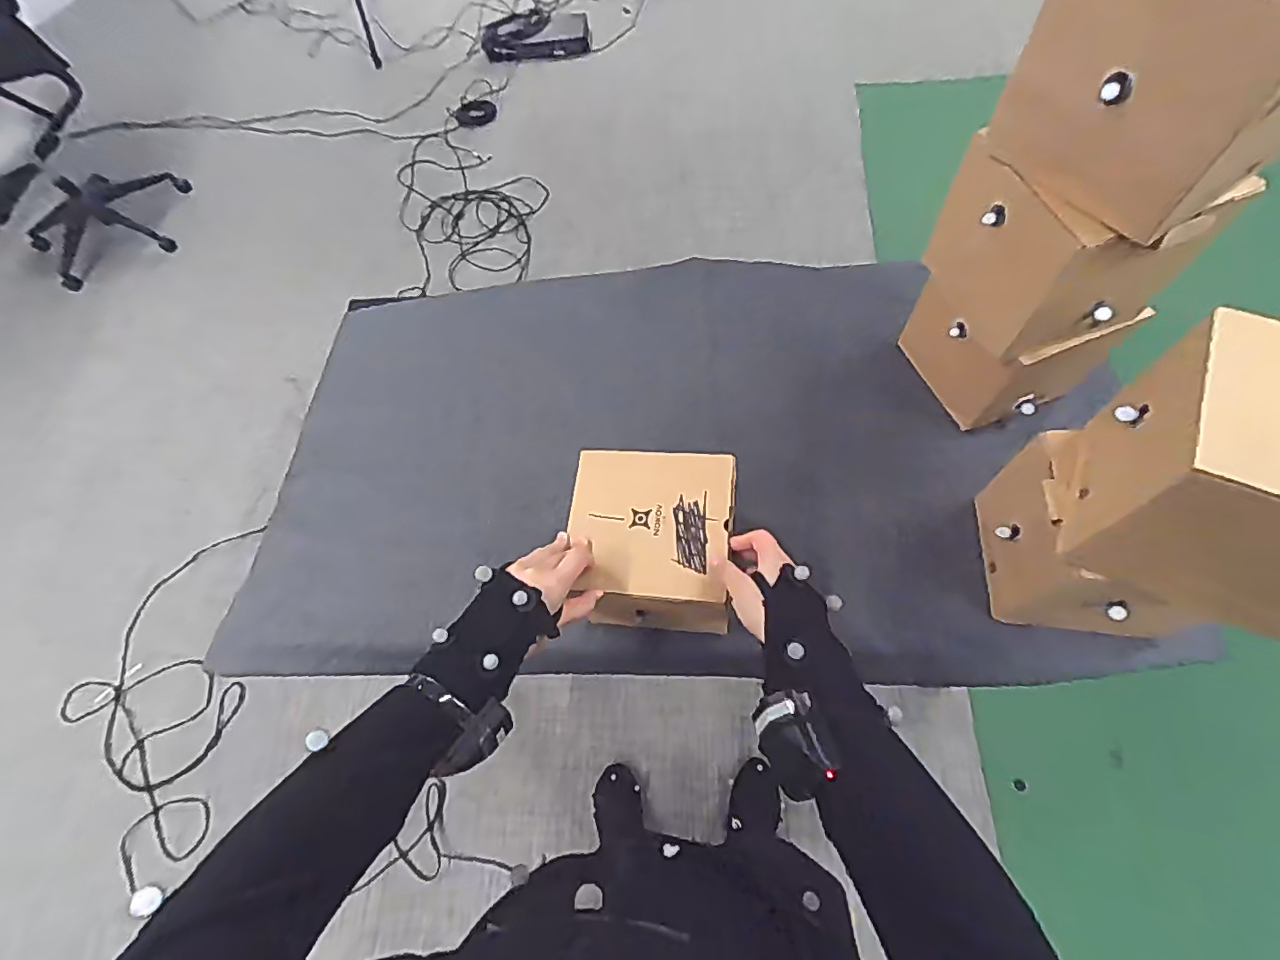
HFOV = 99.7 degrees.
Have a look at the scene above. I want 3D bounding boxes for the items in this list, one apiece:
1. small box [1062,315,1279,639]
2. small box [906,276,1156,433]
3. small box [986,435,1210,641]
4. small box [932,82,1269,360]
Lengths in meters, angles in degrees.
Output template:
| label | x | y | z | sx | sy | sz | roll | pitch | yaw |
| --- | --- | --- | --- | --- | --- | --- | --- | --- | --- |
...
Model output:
| label | x | y | z | sx | sy | sz | roll | pitch | yaw |
| --- | --- | --- | --- | --- | --- | --- | --- | --- | --- |
| small box | 0.488 | 0.006 | 0.432 | 0.179 | 0.176 | 0.168 | 25 | 67 | 17 |
| small box | 0.486 | -0.193 | 0.712 | 0.168 | 0.176 | 0.179 | -22 | 66 | 0 |
| small box | 0.503 | 0.068 | 0.584 | 0.179 | 0.176 | 0.168 | 4 | 63 | 10 |
| small box | 0.443 | -0.259 | 0.565 | 0.168 | 0.176 | 0.179 | -18 | 65 | 2 |
